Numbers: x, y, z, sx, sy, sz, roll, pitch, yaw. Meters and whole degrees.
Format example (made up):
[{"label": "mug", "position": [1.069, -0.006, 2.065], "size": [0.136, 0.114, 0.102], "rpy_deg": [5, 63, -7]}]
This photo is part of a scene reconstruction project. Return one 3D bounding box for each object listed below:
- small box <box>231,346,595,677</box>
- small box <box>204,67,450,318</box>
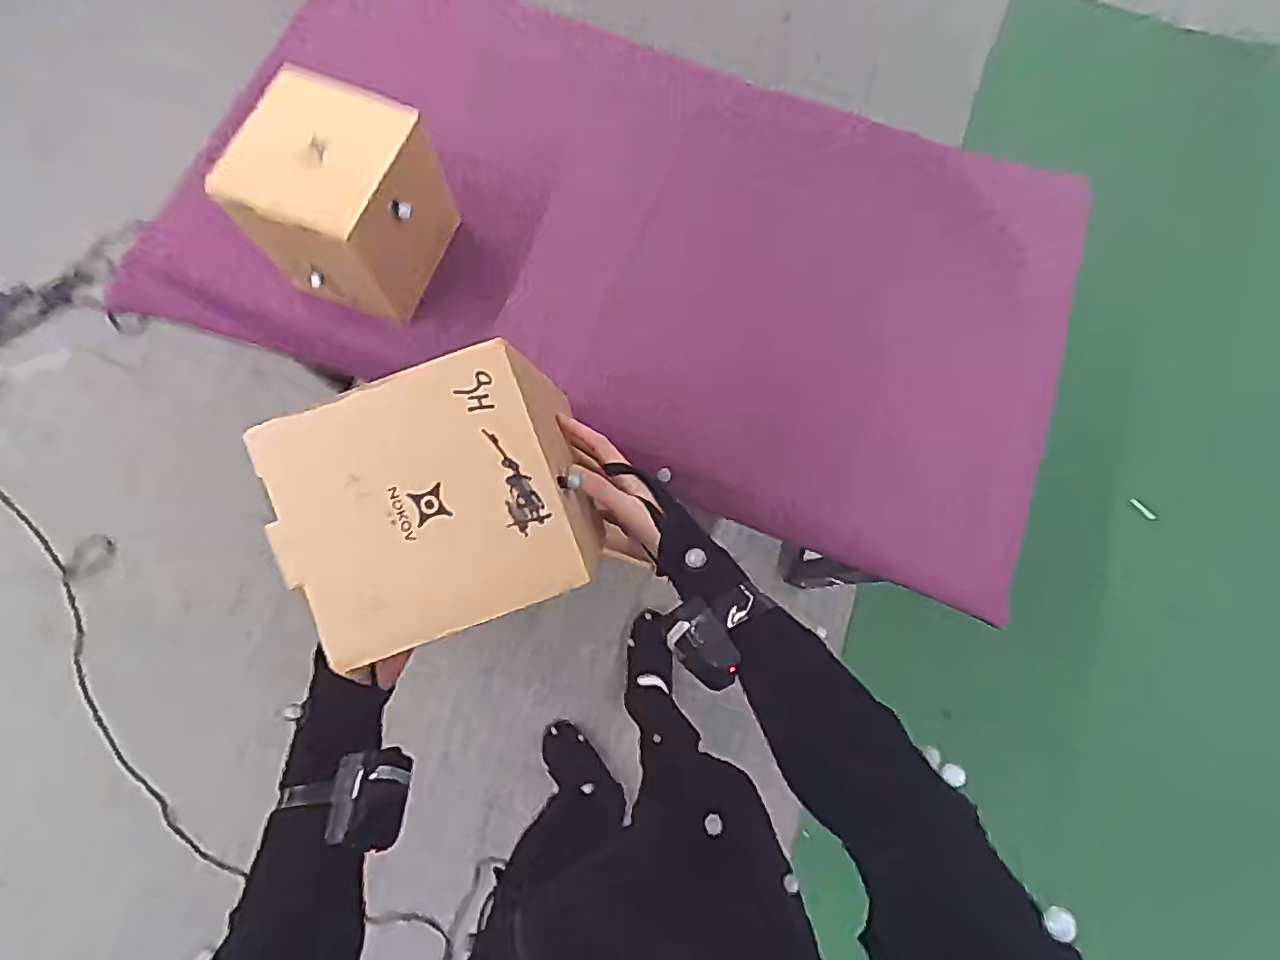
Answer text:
[{"label": "small box", "position": [-0.147, 0.019, 0.416], "size": [0.179, 0.176, 0.168], "rpy_deg": [-20, 93, 1]}, {"label": "small box", "position": [-0.350, -0.333, 0.652], "size": [0.168, 0.176, 0.179], "rpy_deg": [20, 76, 2]}]
